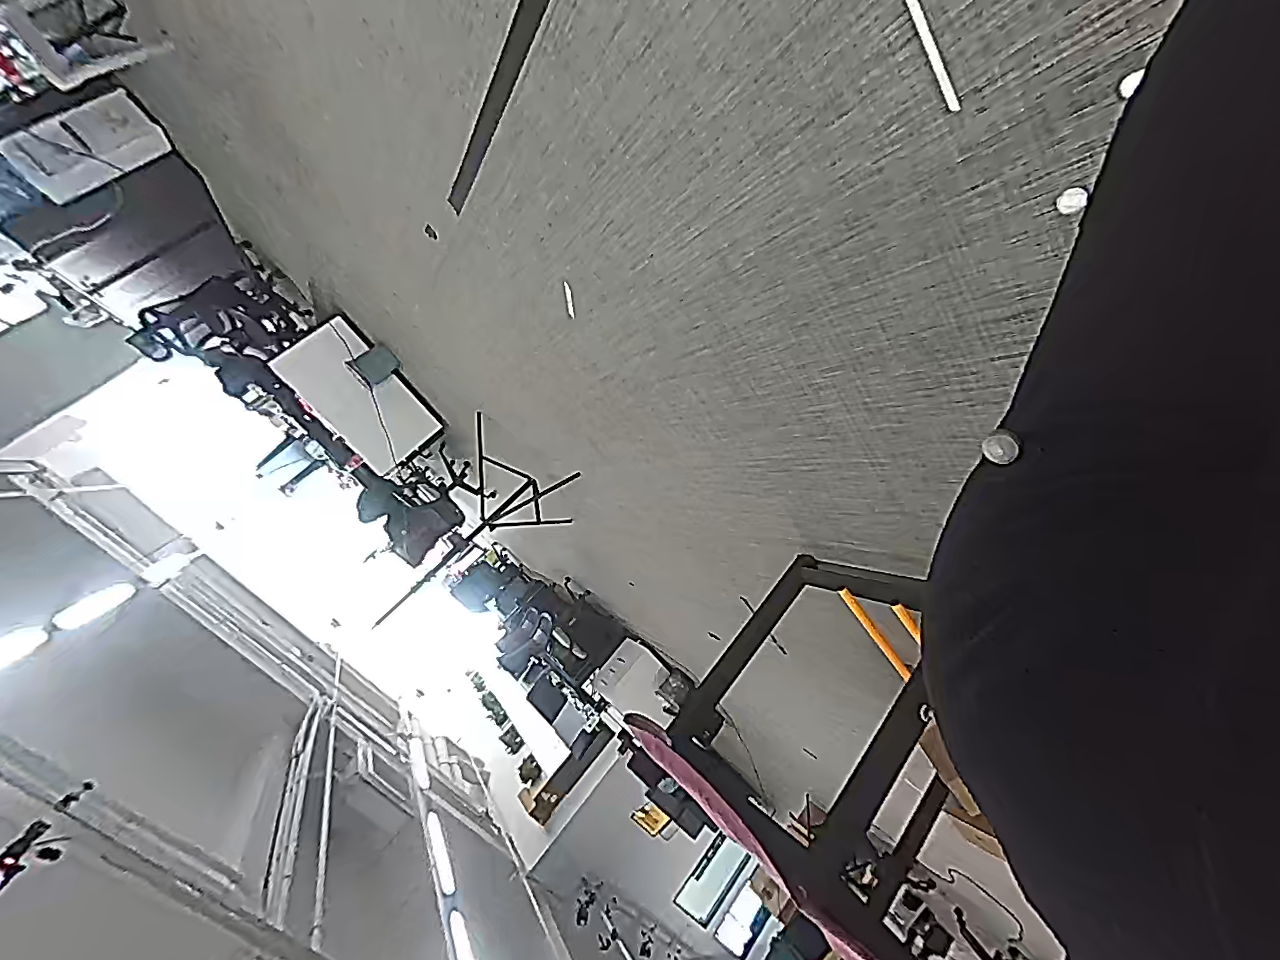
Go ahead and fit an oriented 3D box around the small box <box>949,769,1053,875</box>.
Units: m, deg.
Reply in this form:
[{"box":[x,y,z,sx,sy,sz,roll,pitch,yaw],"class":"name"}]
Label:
[{"box":[1.055,0.985,1.580,0.168,0.176,0.179,49,158,-16],"class":"small box"}]
